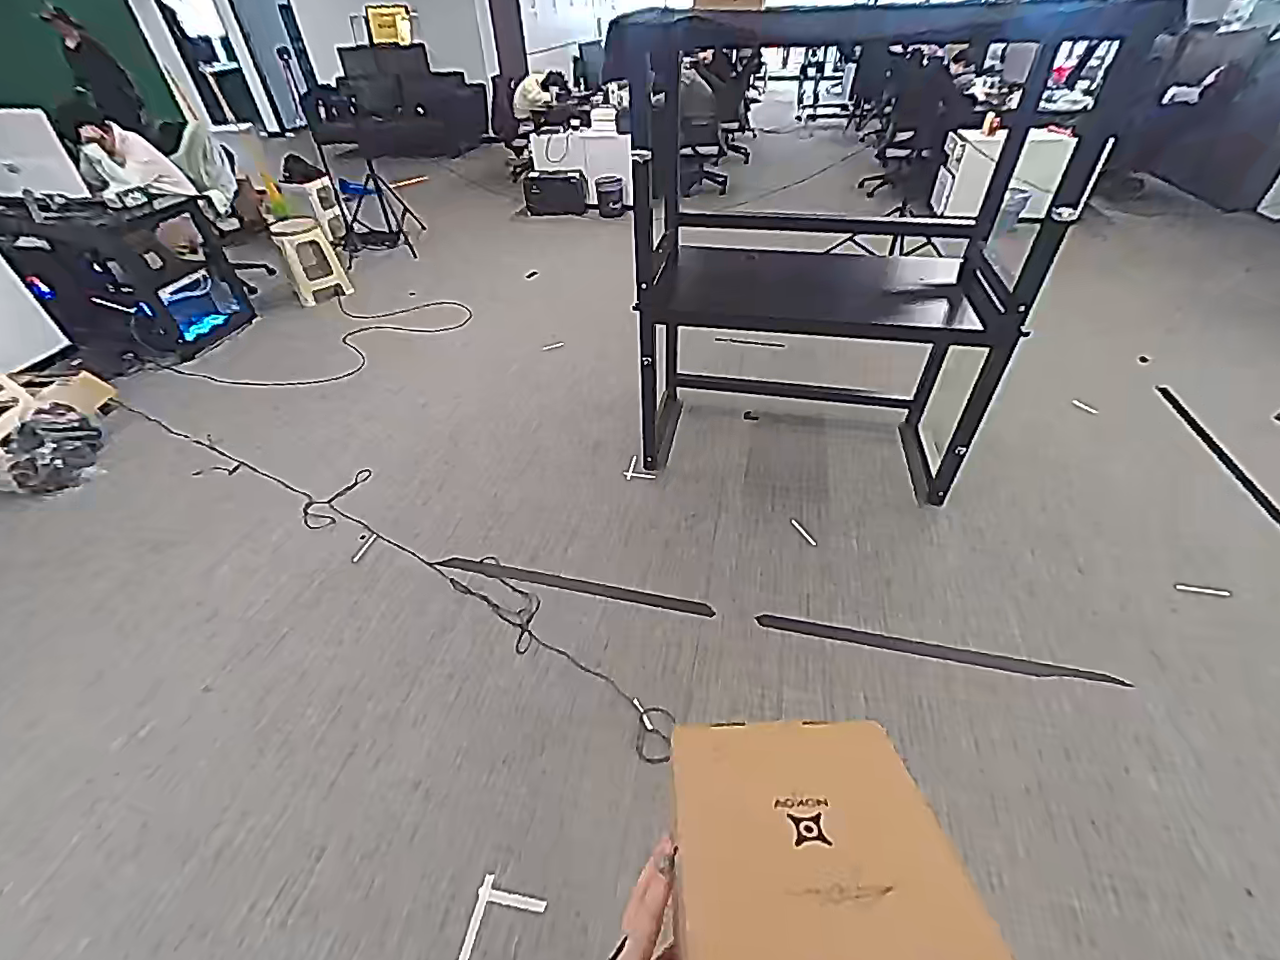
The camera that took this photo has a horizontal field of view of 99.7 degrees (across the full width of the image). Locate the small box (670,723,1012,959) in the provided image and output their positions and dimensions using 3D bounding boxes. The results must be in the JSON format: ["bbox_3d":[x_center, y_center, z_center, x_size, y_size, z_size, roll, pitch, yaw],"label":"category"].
[{"bbox_3d":[0.107,0.296,0.369,0.168,0.176,0.179,-2,19,0],"label":"small box"}]

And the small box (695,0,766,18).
[{"bbox_3d":[0.228,-1.230,1.303,0.168,0.176,0.179,9,40,10],"label":"small box"}]
